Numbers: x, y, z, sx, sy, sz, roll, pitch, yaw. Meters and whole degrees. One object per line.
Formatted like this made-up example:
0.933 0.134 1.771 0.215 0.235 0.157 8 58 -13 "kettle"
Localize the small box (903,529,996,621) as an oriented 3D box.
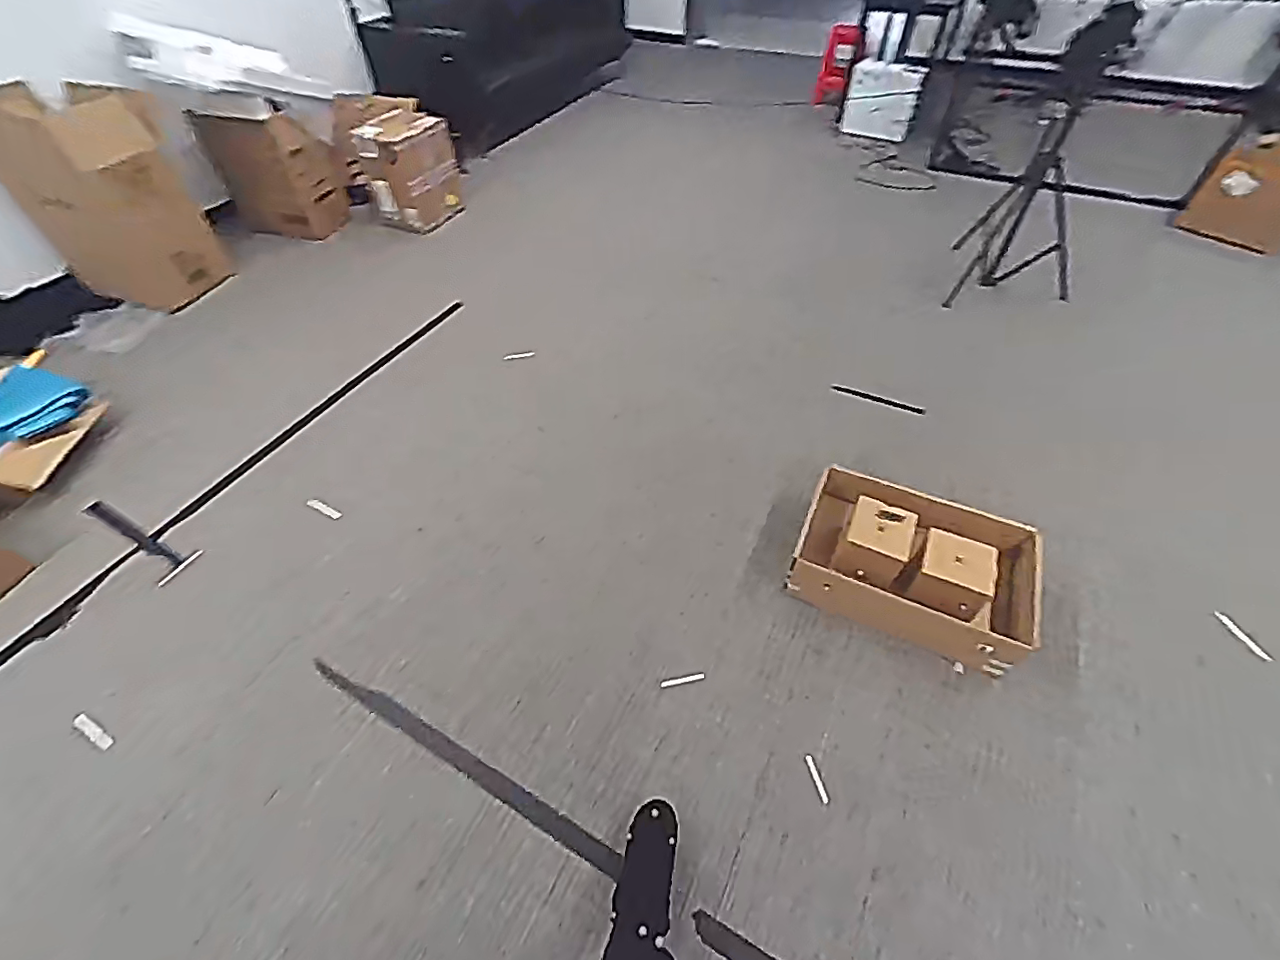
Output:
0.869 0.273 1.524 0.179 0.176 0.168 18 52 19 "small box"
